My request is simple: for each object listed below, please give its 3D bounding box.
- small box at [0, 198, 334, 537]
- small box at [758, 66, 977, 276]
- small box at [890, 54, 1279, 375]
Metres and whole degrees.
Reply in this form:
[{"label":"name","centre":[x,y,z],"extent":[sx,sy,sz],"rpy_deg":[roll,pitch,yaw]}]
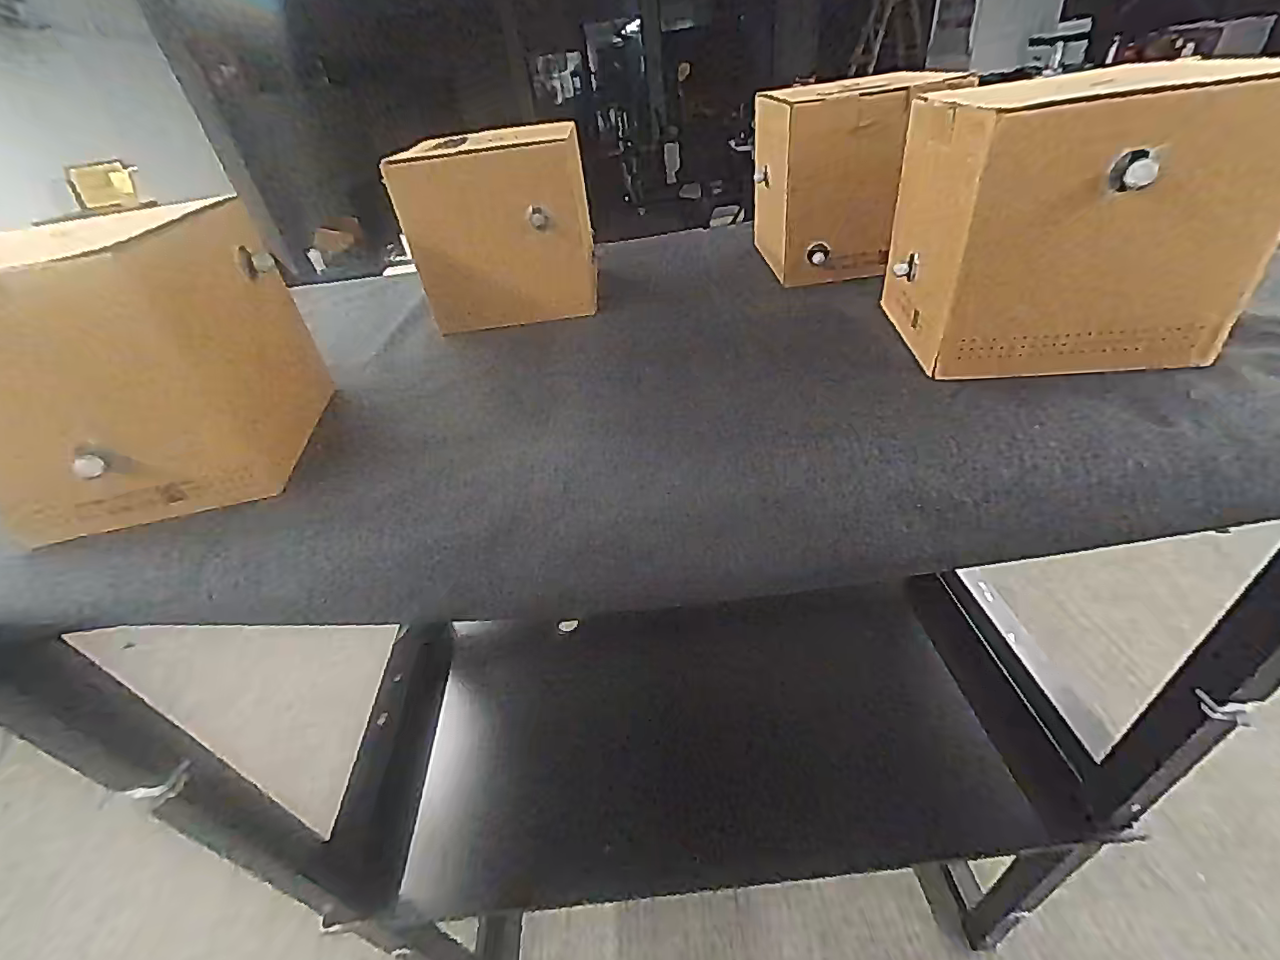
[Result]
[{"label":"small box","centre":[-0.354,-0.087,0.392],"extent":[0.168,0.176,0.179],"rpy_deg":[-13,38,-5]},{"label":"small box","centre":[0.227,-0.332,0.591],"extent":[0.168,0.176,0.179],"rpy_deg":[-6,37,4]},{"label":"small box","centre":[0.300,-0.188,0.389],"extent":[0.179,0.176,0.168],"rpy_deg":[-2,36,10]}]
